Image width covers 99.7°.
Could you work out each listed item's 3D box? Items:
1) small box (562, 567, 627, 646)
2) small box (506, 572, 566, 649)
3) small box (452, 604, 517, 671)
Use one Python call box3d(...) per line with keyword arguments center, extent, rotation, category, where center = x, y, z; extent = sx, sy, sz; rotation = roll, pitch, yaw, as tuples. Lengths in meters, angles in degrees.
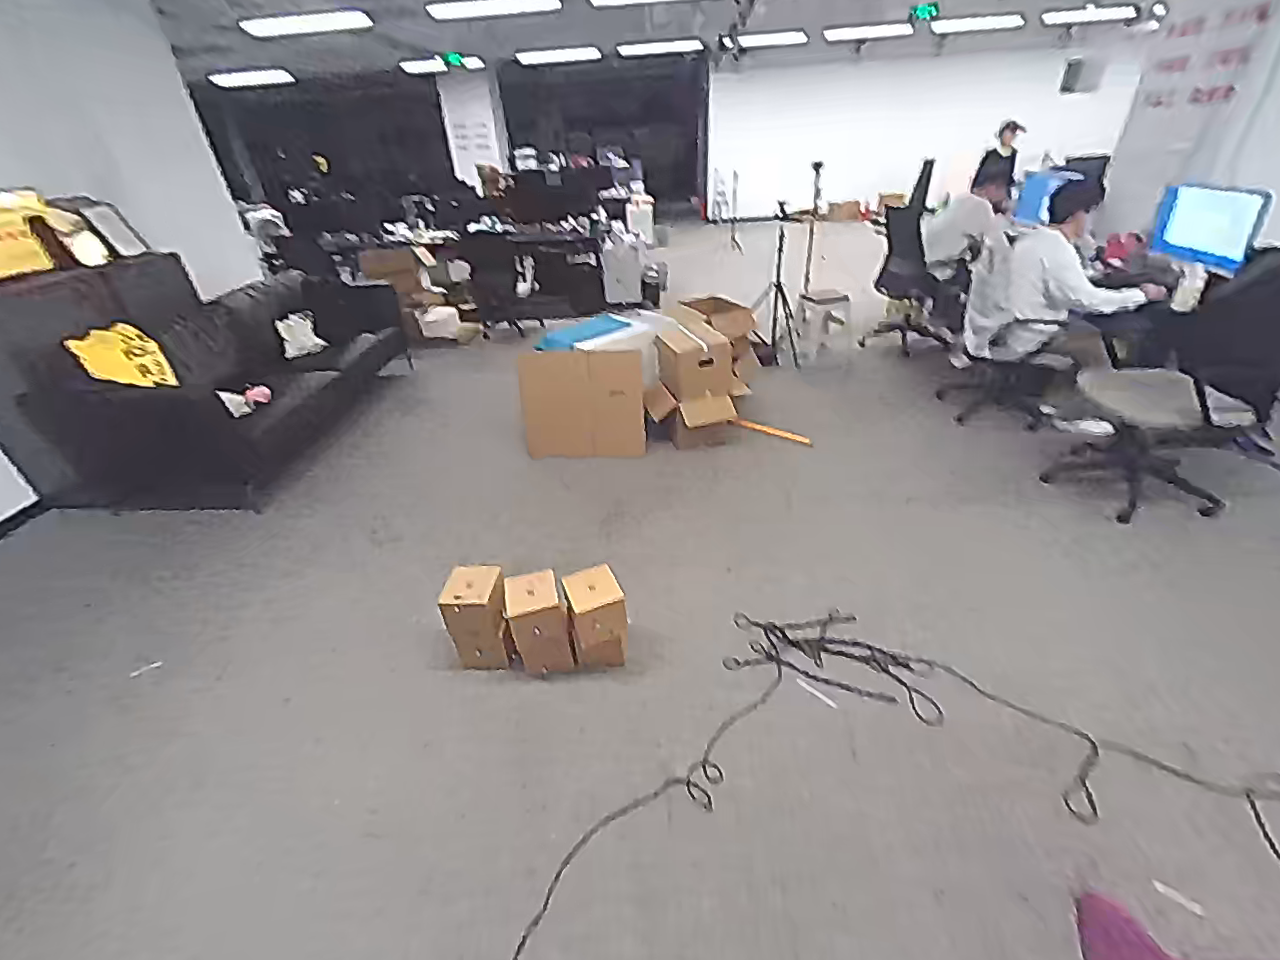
box3d(center=(-0.147, 0.424, 1.785), extent=(0.168, 0.176, 0.179), rotation=(-14, 32, -17), category="small box")
box3d(center=(-0.344, 0.439, 1.791), extent=(0.168, 0.176, 0.179), rotation=(-11, 32, -10), category="small box")
box3d(center=(-0.538, 0.562, 1.923), extent=(0.179, 0.176, 0.168), rotation=(-2, 31, 5), category="small box")
